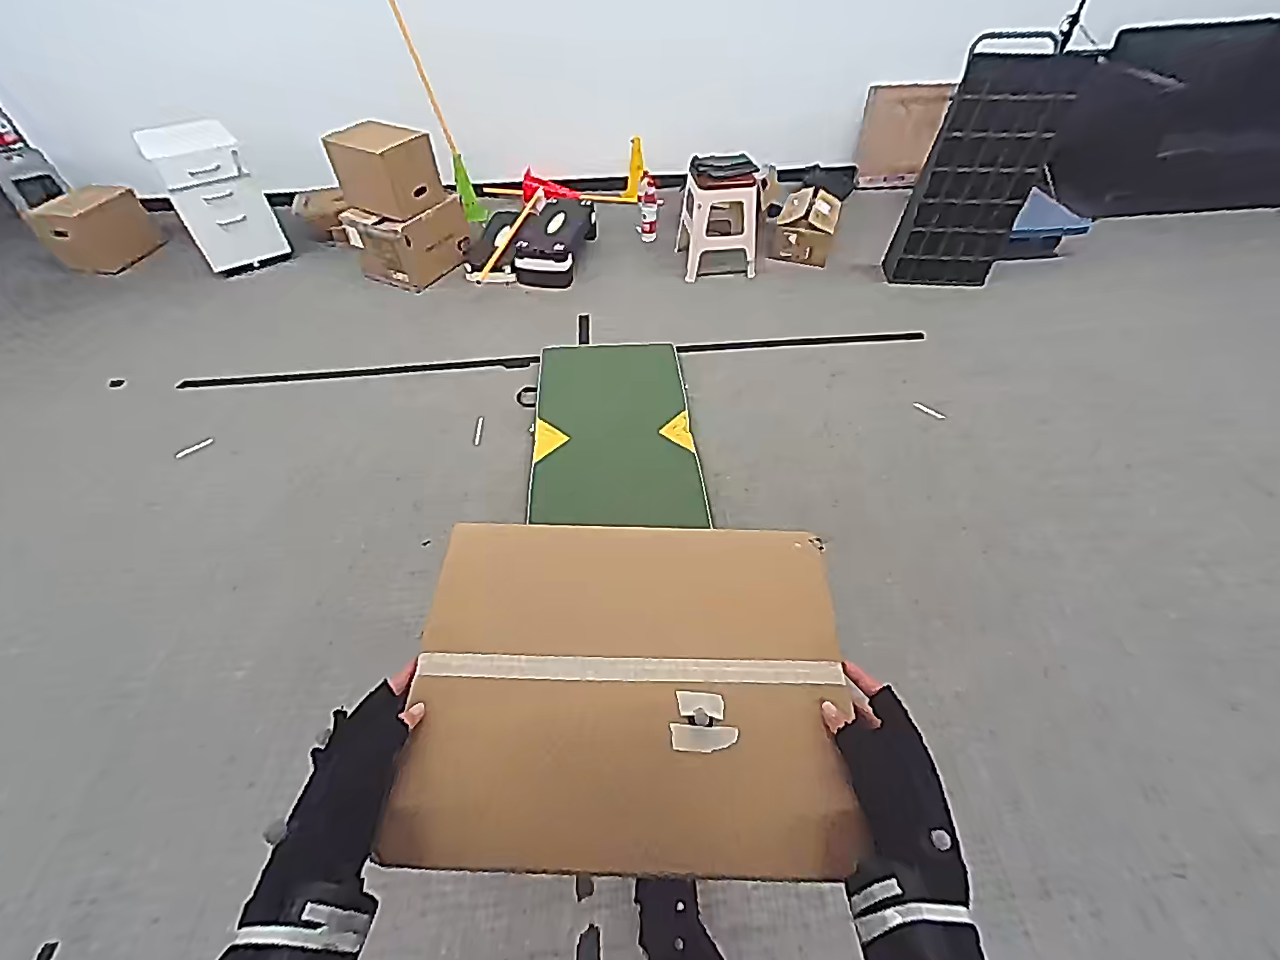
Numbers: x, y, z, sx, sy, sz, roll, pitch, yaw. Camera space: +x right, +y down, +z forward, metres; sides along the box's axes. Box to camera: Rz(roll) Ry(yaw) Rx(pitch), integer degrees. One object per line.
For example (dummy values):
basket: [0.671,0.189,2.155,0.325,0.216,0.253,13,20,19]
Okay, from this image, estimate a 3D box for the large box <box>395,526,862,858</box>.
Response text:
large box: [-0.011,0.268,0.659,0.408,0.320,0.320,2,55,0]
